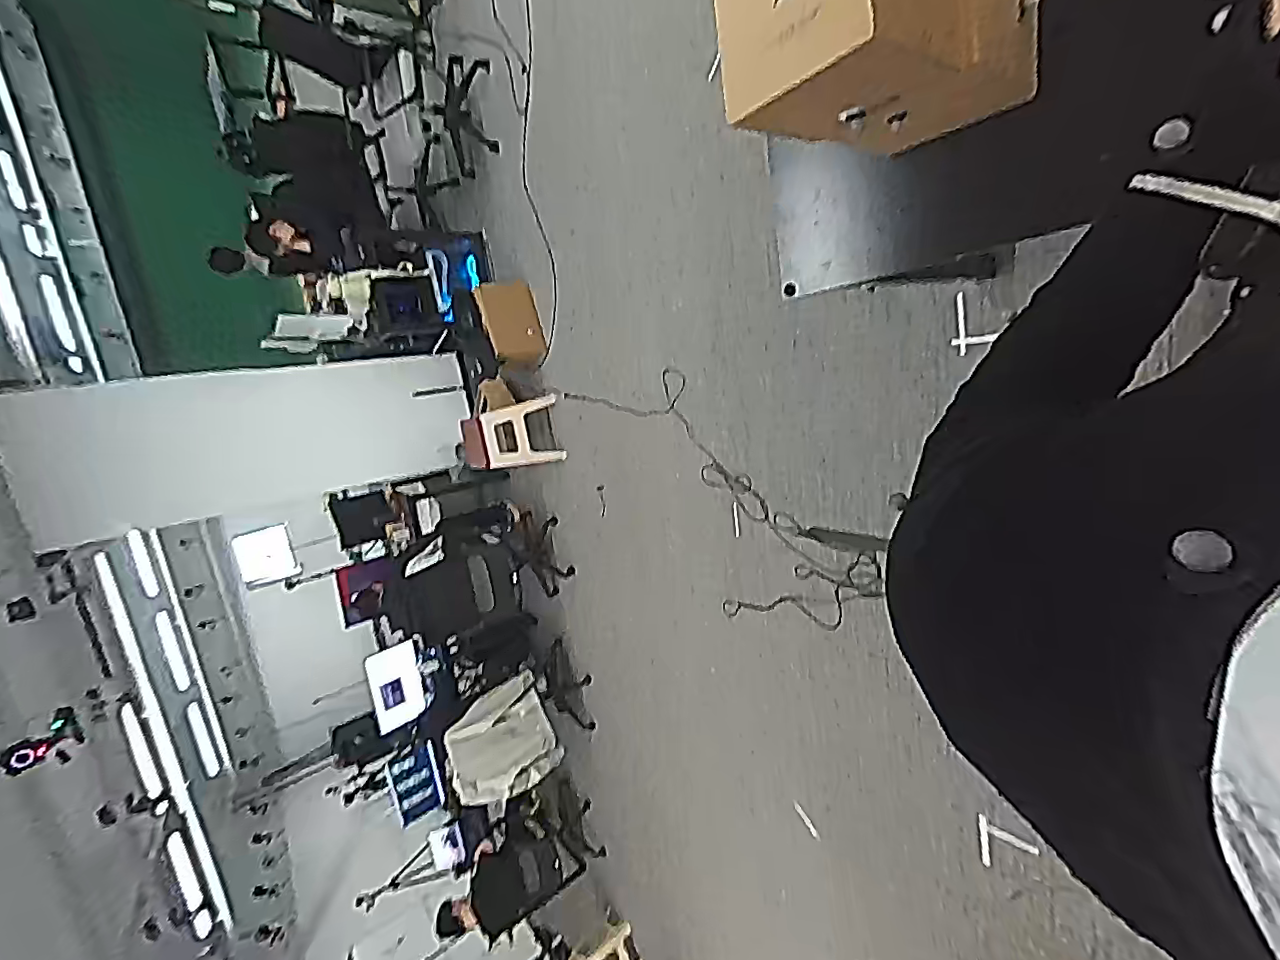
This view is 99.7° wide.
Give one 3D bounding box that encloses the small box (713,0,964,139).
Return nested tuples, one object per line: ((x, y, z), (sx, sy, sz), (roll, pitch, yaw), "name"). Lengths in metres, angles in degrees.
((0.190, -0.465, 0.525), (0.168, 0.176, 0.179), (6, 109, 54), "small box")

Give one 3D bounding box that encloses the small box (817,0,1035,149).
((0.319, -0.503, 0.616), (0.179, 0.176, 0.168), (7, 109, 52), "small box")
